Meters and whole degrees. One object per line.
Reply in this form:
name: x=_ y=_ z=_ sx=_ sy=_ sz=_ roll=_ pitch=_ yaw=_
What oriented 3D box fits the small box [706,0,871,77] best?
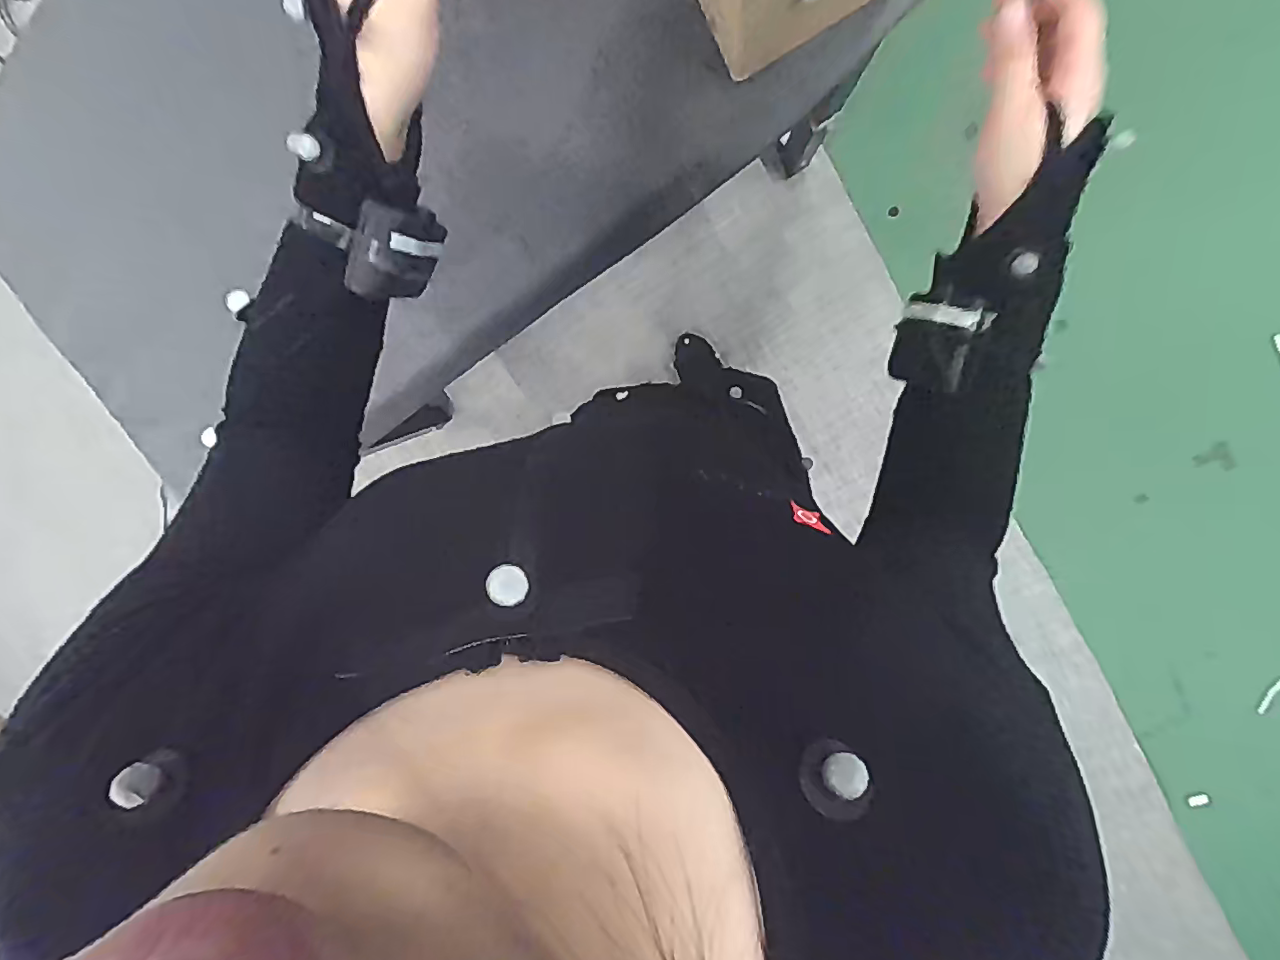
small box: x=0.136 y=-0.527 z=0.496 sx=0.179 sy=0.176 sz=0.168 roll=-25 pitch=98 yaw=14
